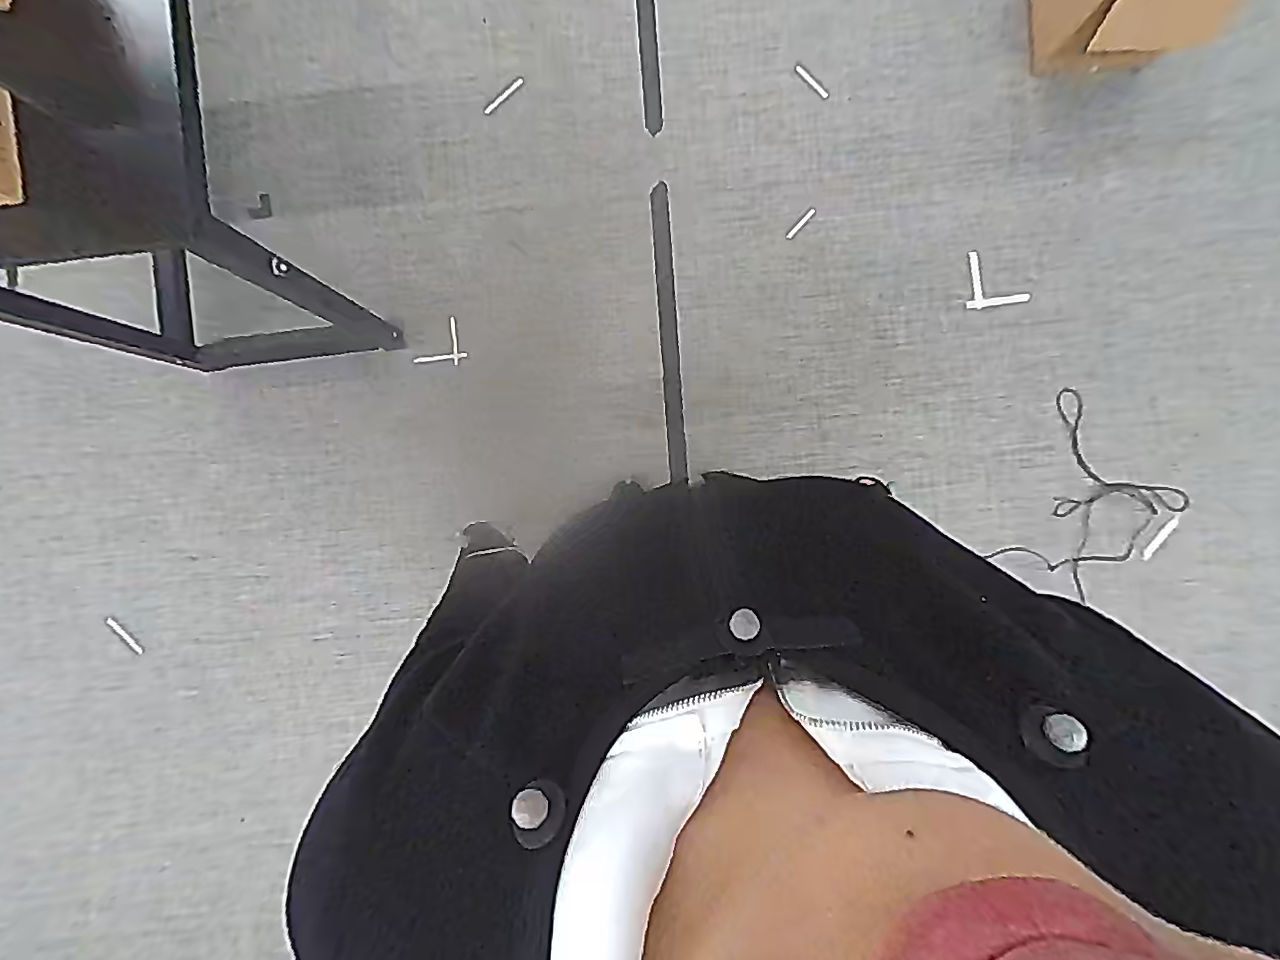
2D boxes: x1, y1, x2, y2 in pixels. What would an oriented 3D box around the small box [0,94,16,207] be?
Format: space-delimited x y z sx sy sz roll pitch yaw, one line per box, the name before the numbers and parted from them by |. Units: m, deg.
small box | -1.002 -0.477 0.721 0.179 0.176 0.168 -8 89 2
